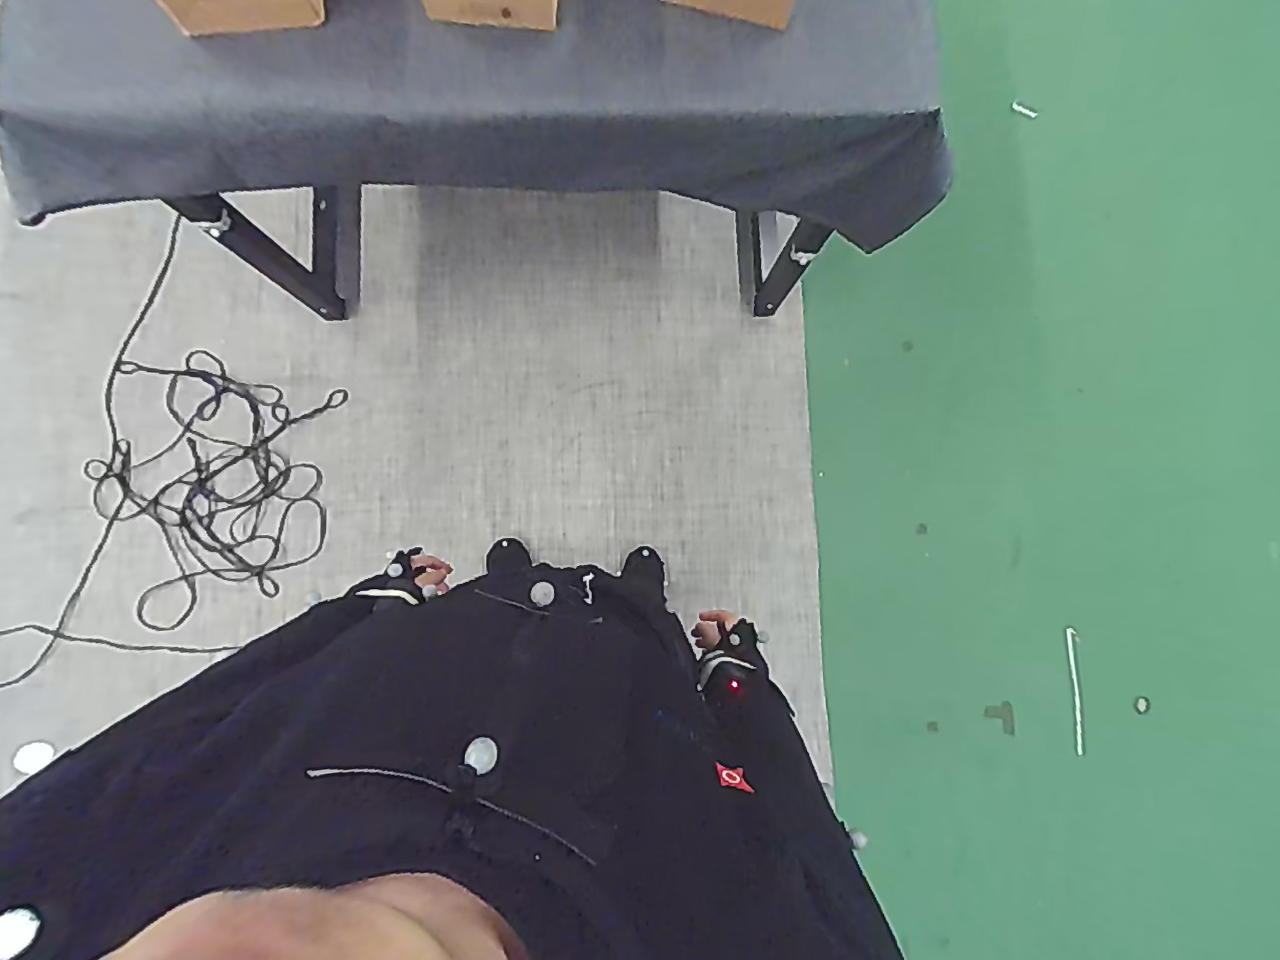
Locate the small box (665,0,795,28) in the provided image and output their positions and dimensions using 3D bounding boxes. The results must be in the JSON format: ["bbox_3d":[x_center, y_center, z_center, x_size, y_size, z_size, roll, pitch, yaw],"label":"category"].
[{"bbox_3d":[0.134,-0.708,0.659,0.179,0.176,0.168,12,83,-1],"label":"small box"}]

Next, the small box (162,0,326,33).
[{"bbox_3d":[-0.496,-0.660,0.620,0.179,0.176,0.168,-9,84,-5],"label":"small box"}]
